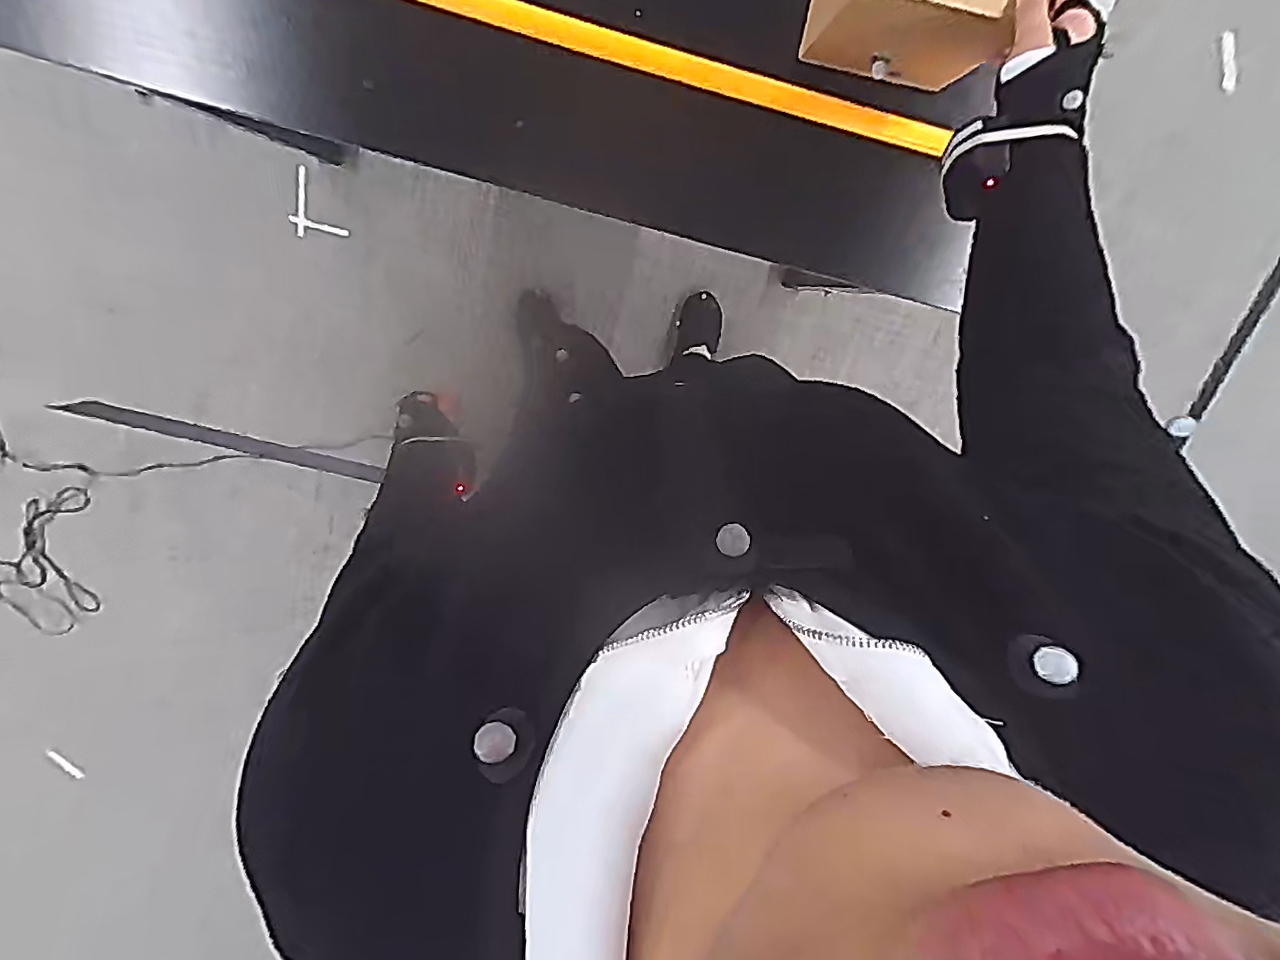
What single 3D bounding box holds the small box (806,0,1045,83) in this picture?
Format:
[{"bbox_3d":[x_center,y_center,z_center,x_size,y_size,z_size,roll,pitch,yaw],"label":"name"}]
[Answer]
[{"bbox_3d":[0.274,-0.513,0.503,0.168,0.176,0.179,9,110,-5],"label":"small box"}]
